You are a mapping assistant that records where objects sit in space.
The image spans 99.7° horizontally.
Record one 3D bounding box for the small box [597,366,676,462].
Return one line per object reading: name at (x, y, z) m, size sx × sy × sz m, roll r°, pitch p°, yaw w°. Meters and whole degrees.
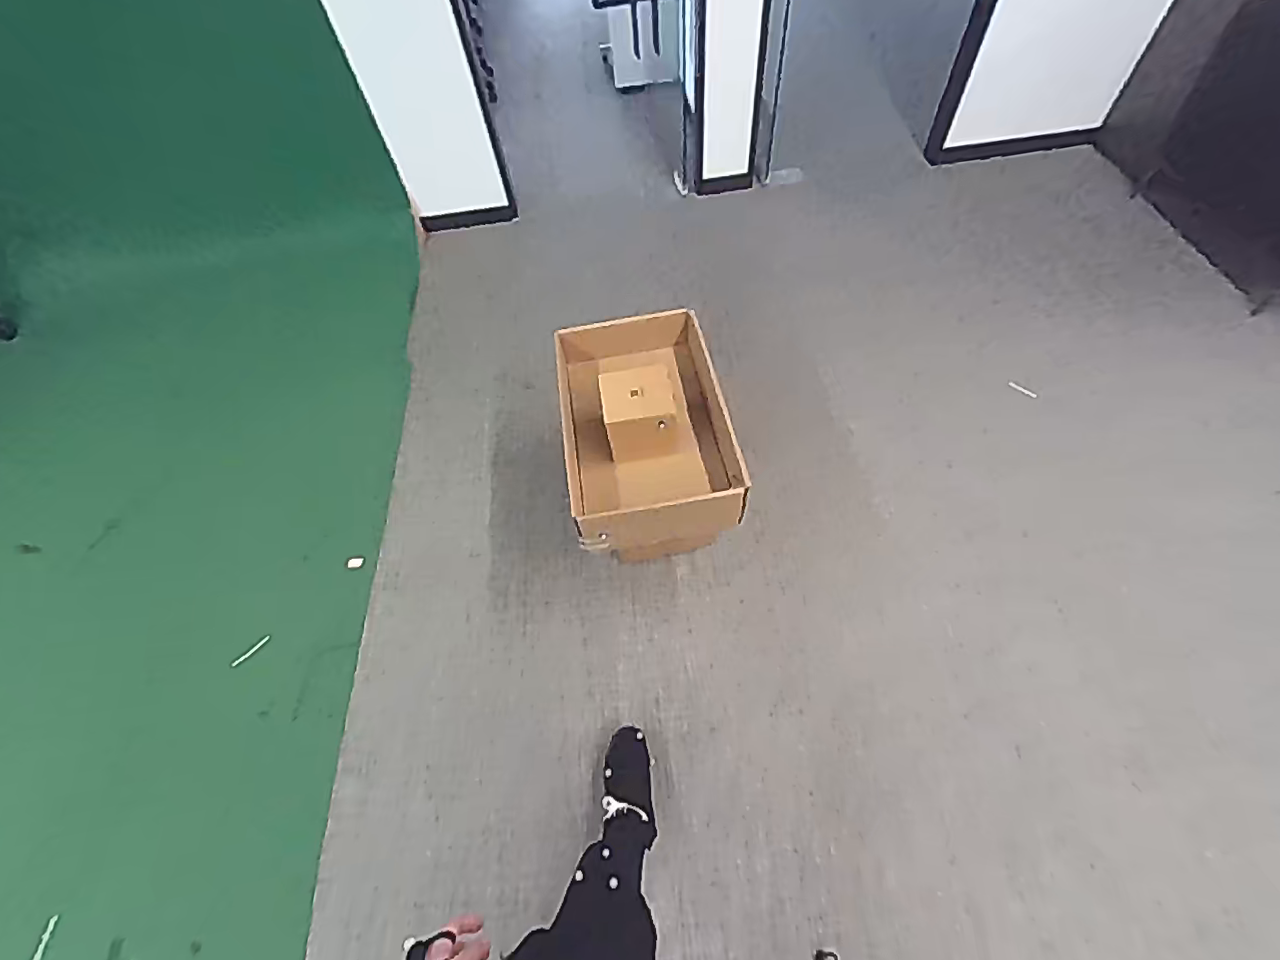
small box at (-0.007, -0.162, 1.376) m, size 0.179 × 0.176 × 0.168 m, roll -9°, pitch 56°, yaw -1°
